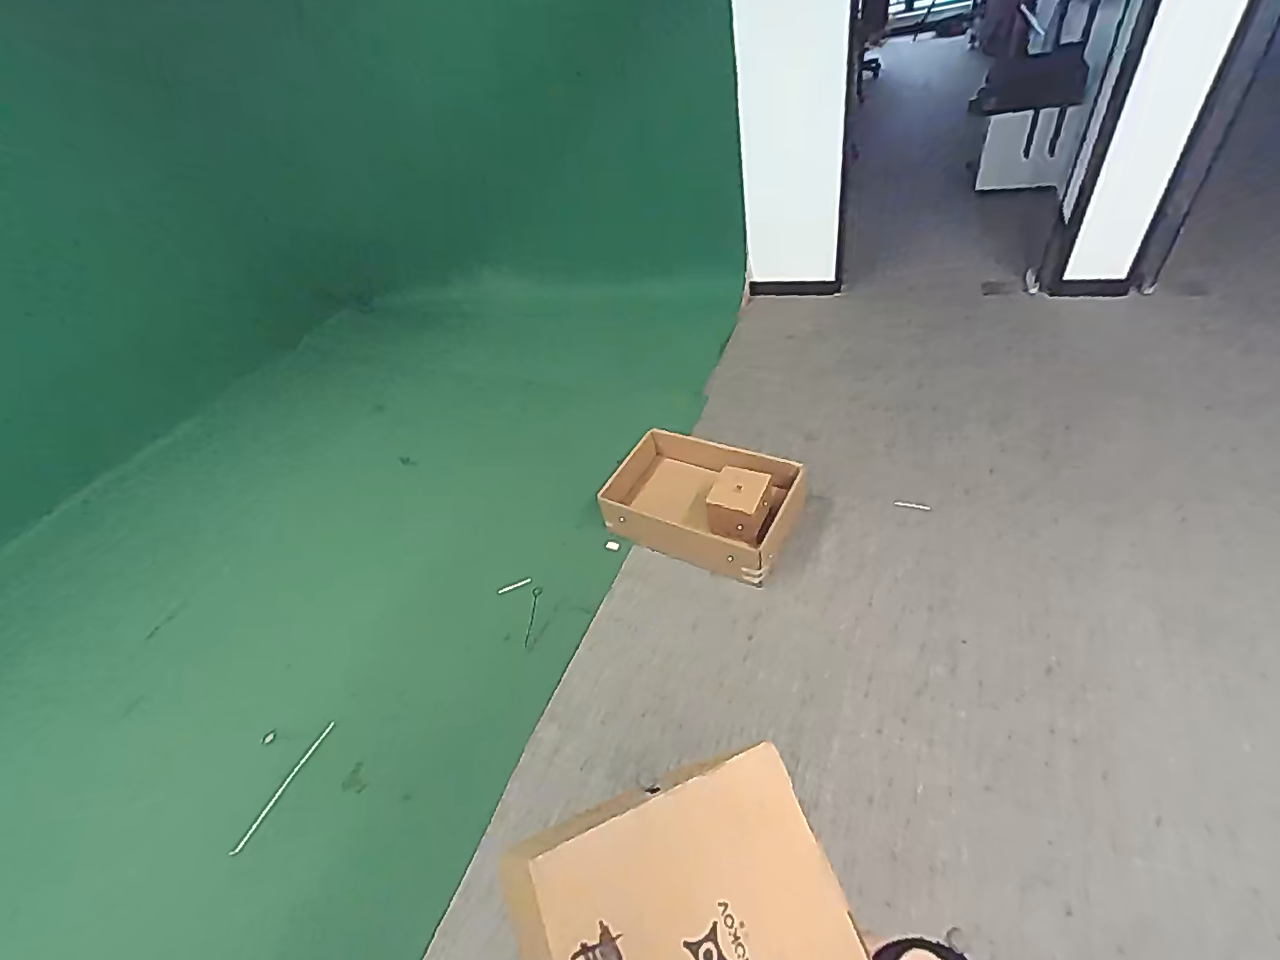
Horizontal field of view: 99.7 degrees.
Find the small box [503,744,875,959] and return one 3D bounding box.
[{"bbox_3d":[0.021,0.301,0.362,0.179,0.176,0.168,-10,62,-27],"label":"small box"}]
